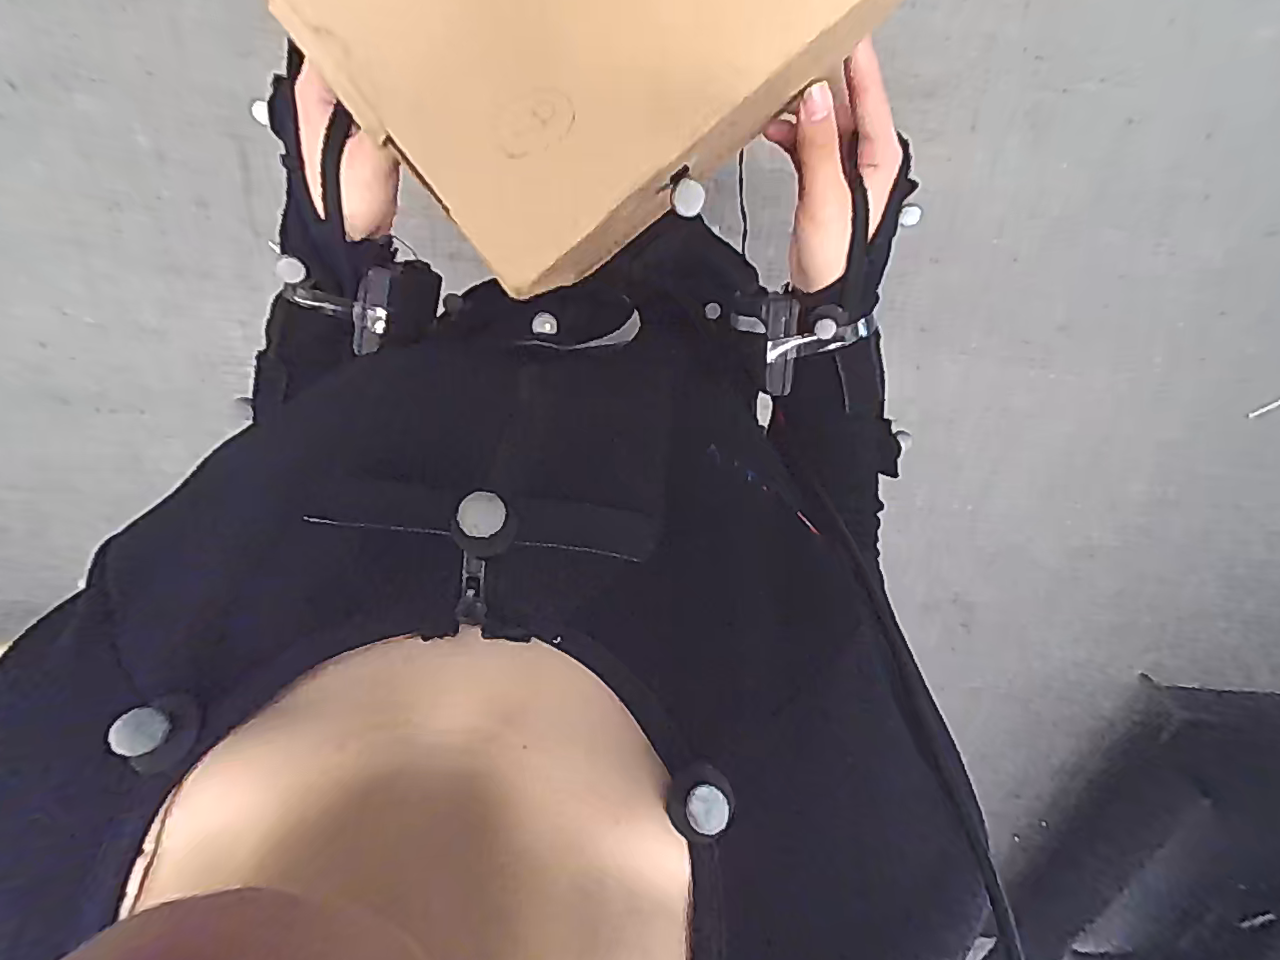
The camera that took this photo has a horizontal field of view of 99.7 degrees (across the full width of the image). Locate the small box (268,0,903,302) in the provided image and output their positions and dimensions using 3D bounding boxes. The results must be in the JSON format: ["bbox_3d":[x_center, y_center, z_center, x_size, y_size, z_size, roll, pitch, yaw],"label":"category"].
[{"bbox_3d":[-0.017,-0.195,0.216,0.179,0.176,0.168,-34,107,15],"label":"small box"}]
